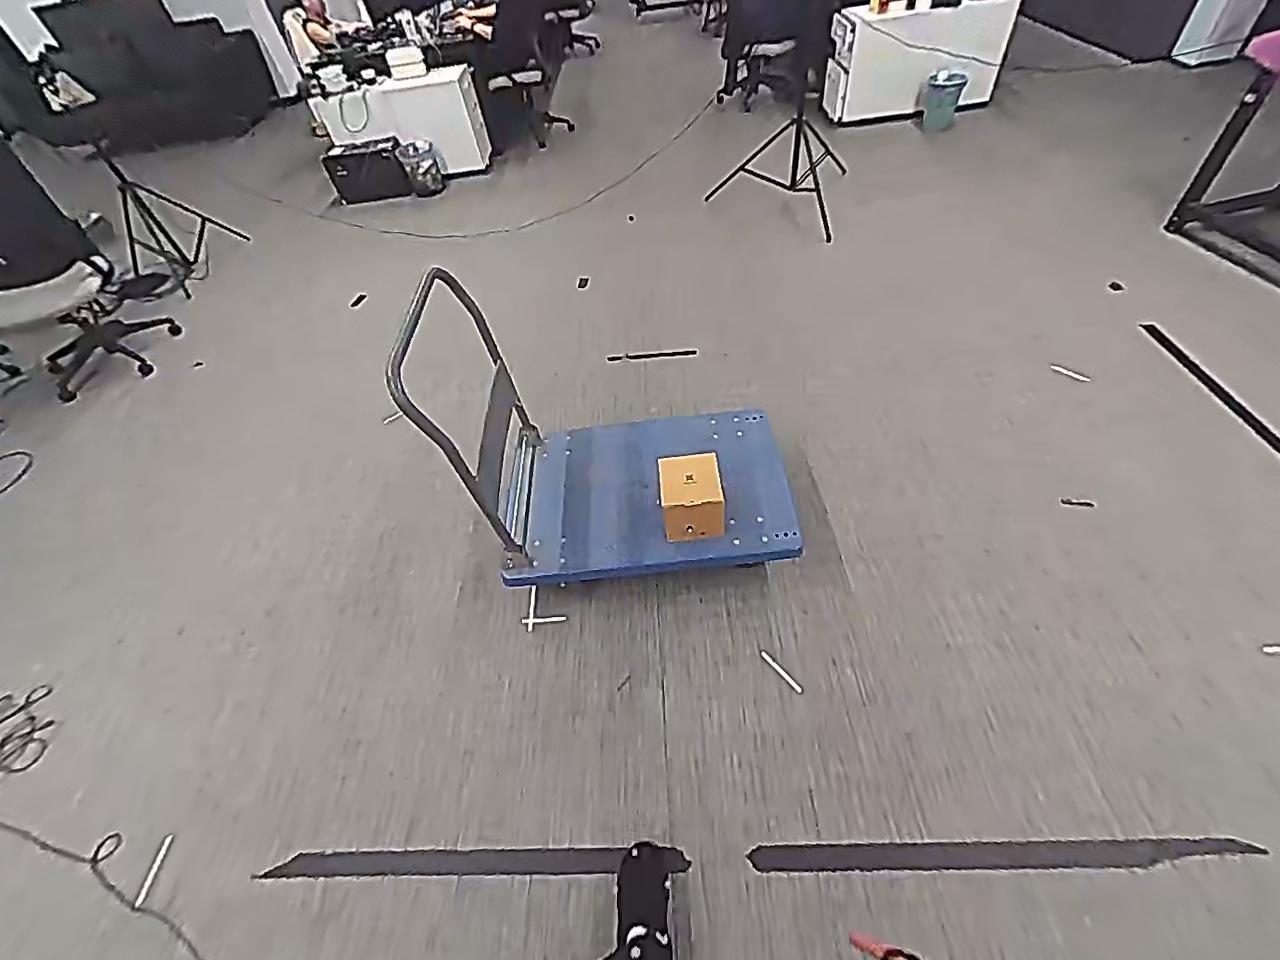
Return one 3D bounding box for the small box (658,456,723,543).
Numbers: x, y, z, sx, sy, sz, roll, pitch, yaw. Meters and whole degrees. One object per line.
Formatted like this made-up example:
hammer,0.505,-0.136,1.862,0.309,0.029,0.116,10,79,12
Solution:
small box,0.143,0.056,1.537,0.168,0.176,0.179,-7,49,3
